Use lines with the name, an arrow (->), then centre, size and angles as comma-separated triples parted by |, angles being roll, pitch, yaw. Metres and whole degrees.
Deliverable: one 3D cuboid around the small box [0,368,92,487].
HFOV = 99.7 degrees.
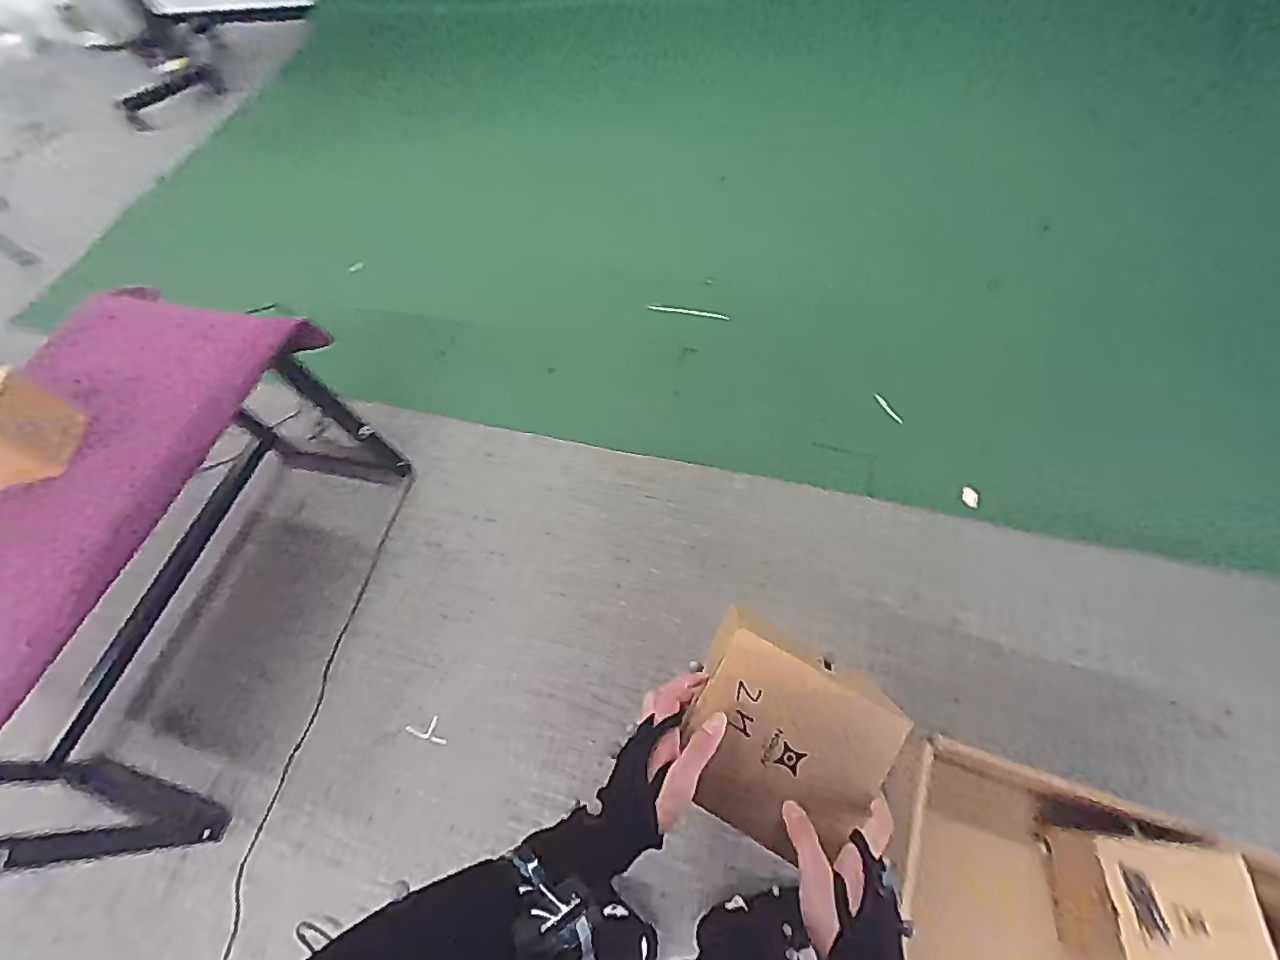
small box -> -1.331, -0.104, 1.138 | 0.179, 0.176, 0.168 | -13, 61, 3
